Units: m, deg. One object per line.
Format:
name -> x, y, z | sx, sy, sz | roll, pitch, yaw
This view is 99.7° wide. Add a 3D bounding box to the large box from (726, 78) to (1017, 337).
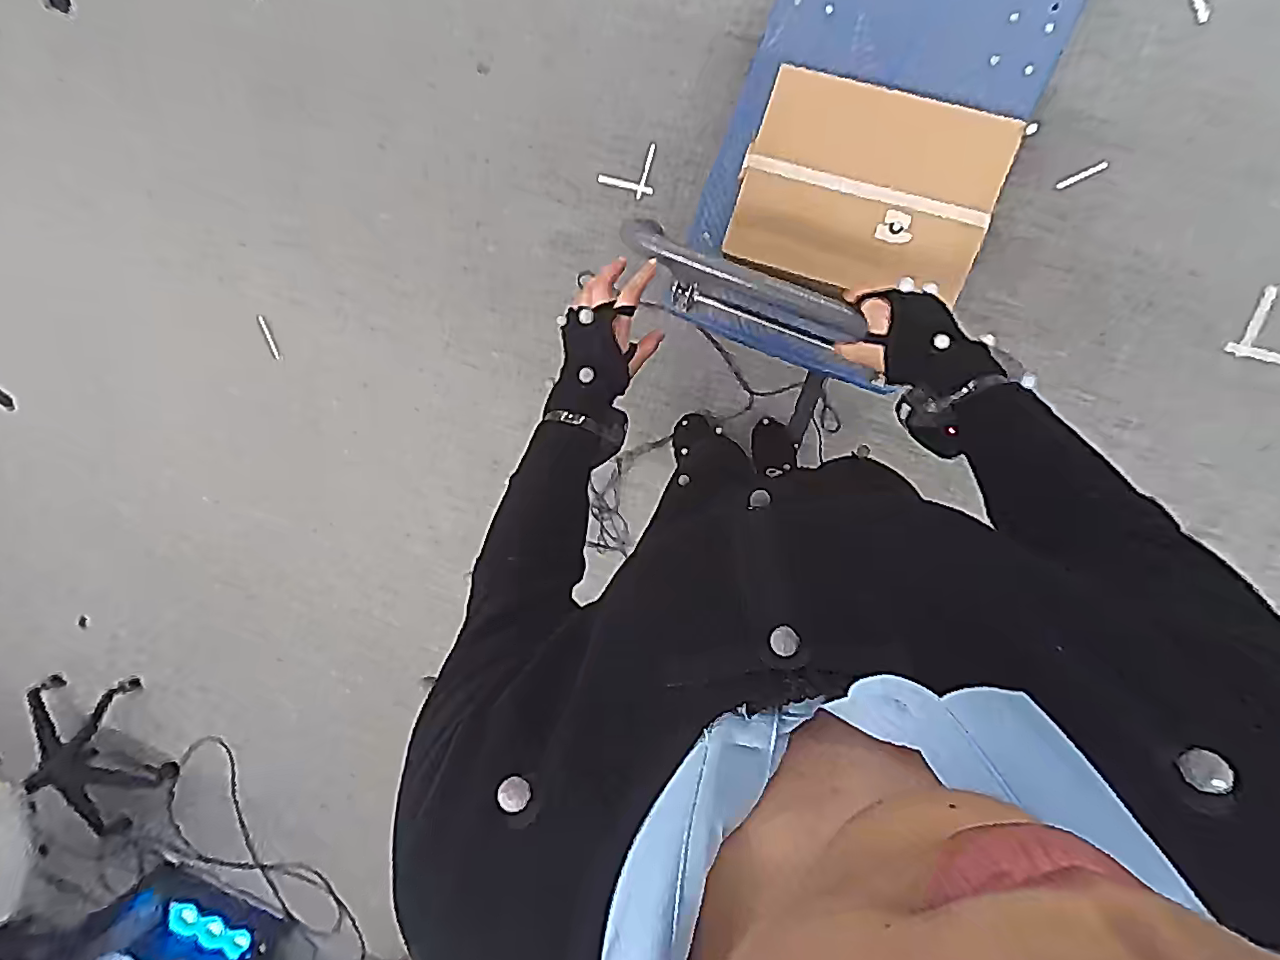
large box -> 0.404, -0.502, 1.065 | 0.408, 0.320, 0.320 | 19, 101, 7
